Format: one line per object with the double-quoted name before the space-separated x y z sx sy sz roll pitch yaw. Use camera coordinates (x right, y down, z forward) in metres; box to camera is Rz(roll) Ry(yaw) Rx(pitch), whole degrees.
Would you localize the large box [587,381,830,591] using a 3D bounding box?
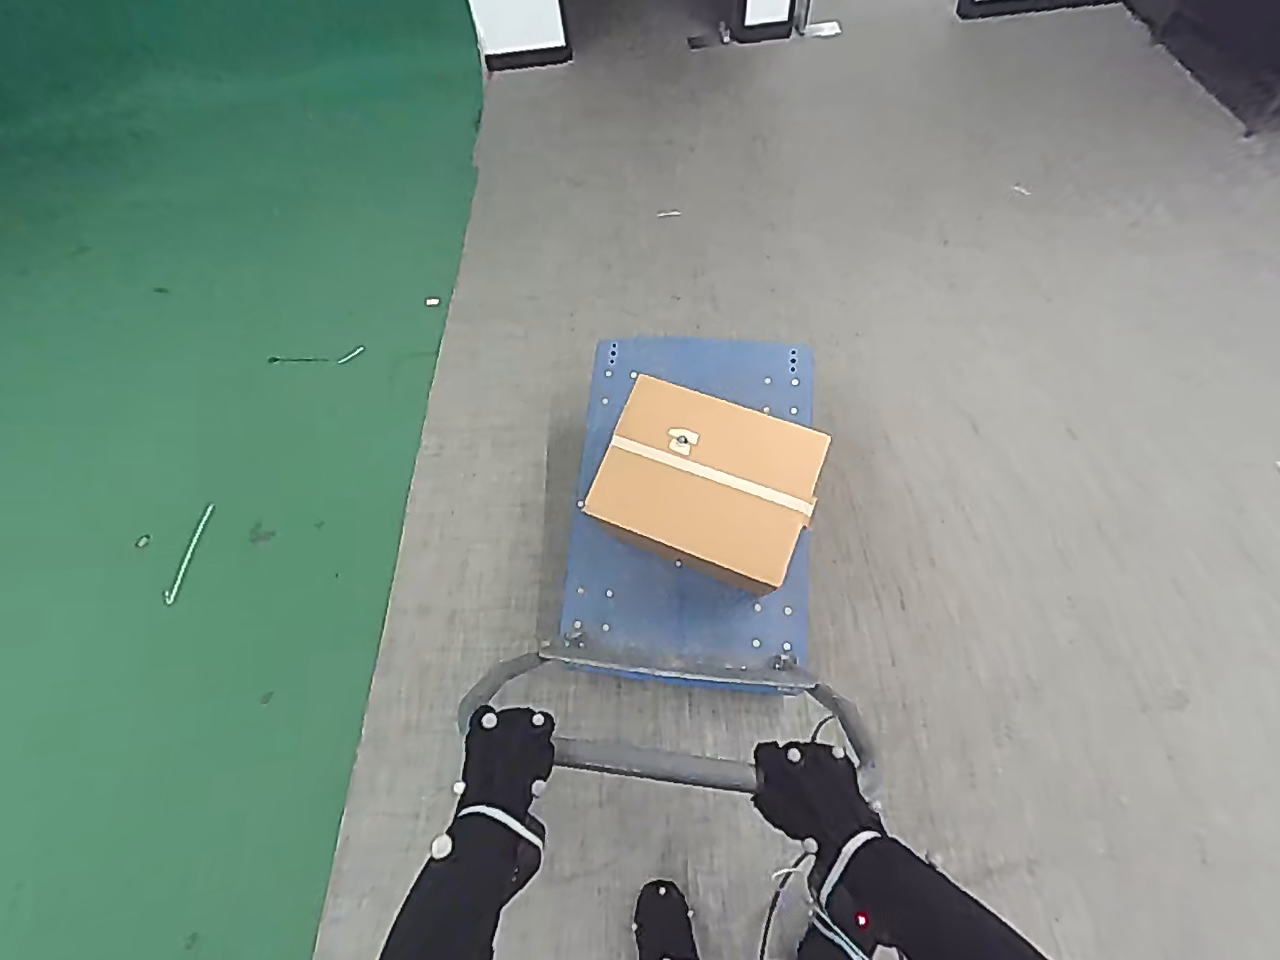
"large box" 0.153 0.030 1.188 0.408 0.320 0.320 19 79 12
